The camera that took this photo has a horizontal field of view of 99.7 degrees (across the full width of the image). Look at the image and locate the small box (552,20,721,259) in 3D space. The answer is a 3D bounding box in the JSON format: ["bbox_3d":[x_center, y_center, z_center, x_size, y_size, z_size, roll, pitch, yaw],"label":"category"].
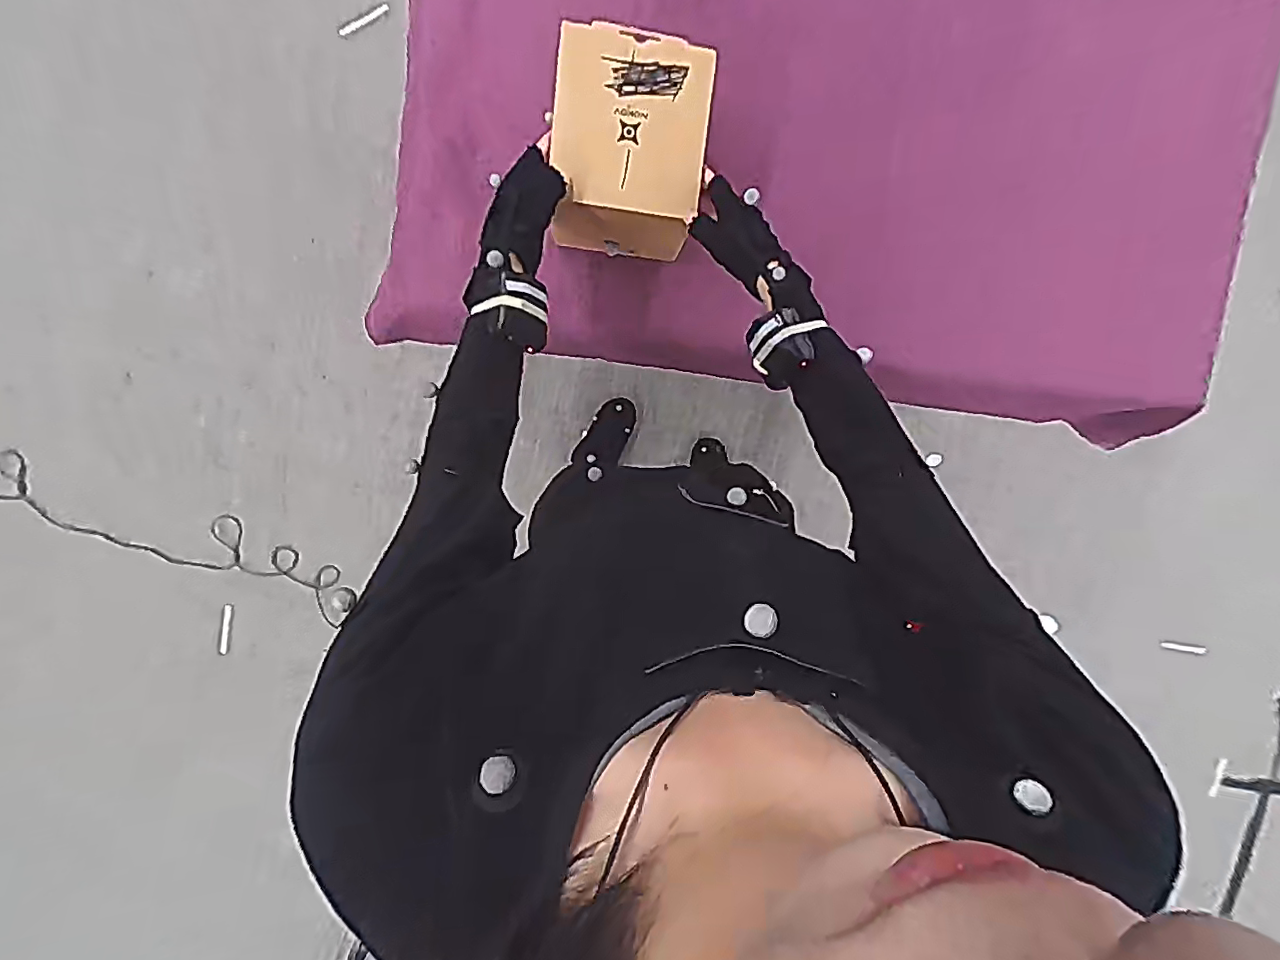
[{"bbox_3d":[-0.011,-0.389,0.651,0.168,0.176,0.179,6,97,-5],"label":"small box"}]
